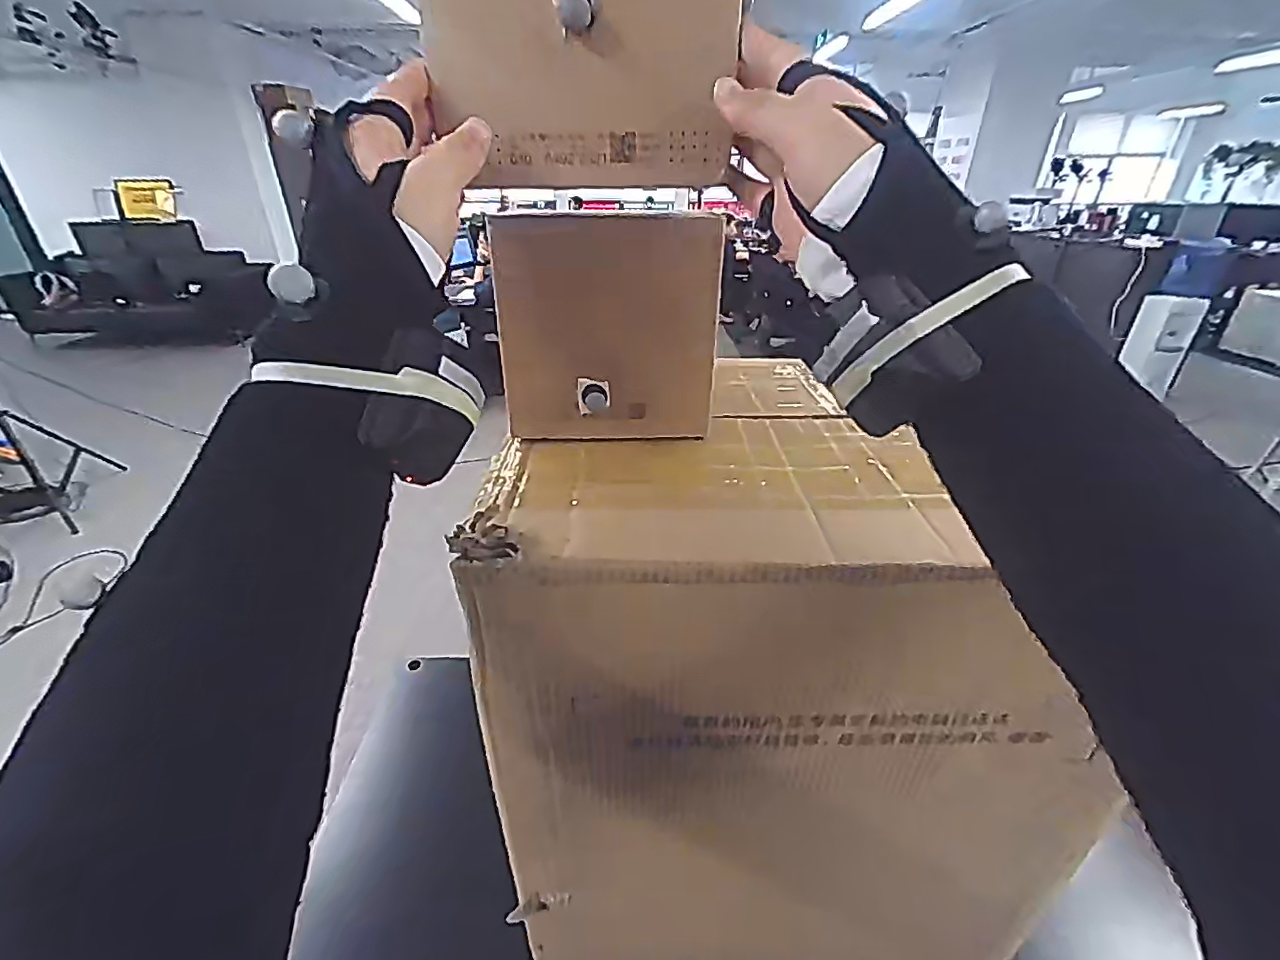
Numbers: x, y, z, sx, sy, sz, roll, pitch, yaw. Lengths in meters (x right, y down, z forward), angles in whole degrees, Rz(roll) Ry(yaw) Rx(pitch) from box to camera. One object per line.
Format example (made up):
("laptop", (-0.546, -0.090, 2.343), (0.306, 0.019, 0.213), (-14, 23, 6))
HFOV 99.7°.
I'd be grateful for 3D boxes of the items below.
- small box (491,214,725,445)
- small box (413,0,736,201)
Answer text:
("small box", (-0.028, -0.140, 0.482), (0.168, 0.176, 0.179), (-3, 29, -4))
("small box", (-0.029, -0.273, 0.340), (0.168, 0.176, 0.179), (0, 30, 3))
